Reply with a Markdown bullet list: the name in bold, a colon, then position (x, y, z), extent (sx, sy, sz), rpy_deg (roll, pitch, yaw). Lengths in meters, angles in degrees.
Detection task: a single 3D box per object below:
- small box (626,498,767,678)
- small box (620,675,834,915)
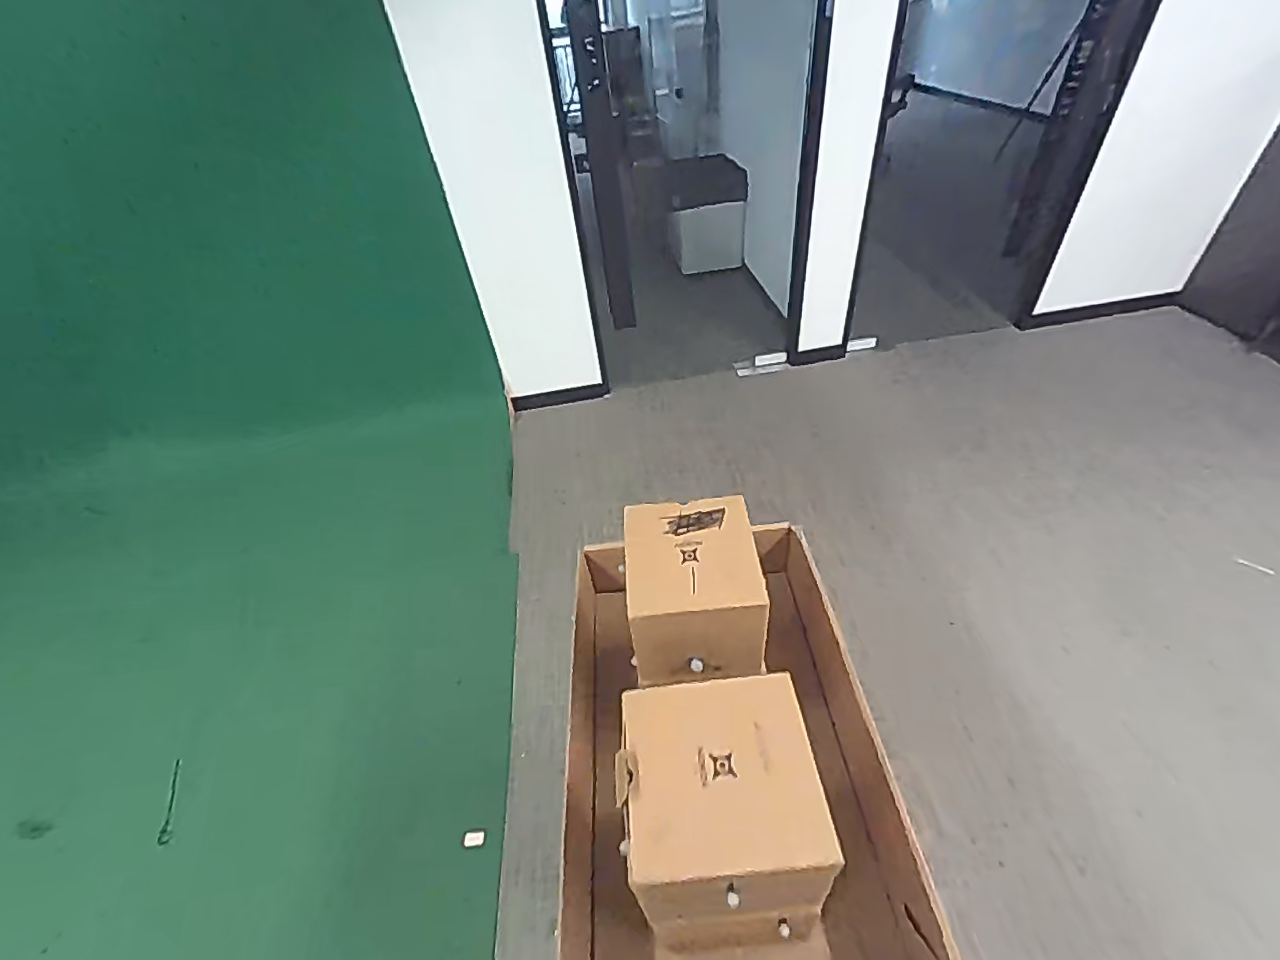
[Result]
- **small box**: position (0.070, 0.148, 0.738), extent (0.168, 0.176, 0.179), rpy_deg (-5, 46, 3)
- **small box**: position (0.079, 0.324, 0.555), extent (0.179, 0.176, 0.168), rpy_deg (-7, 43, 1)
